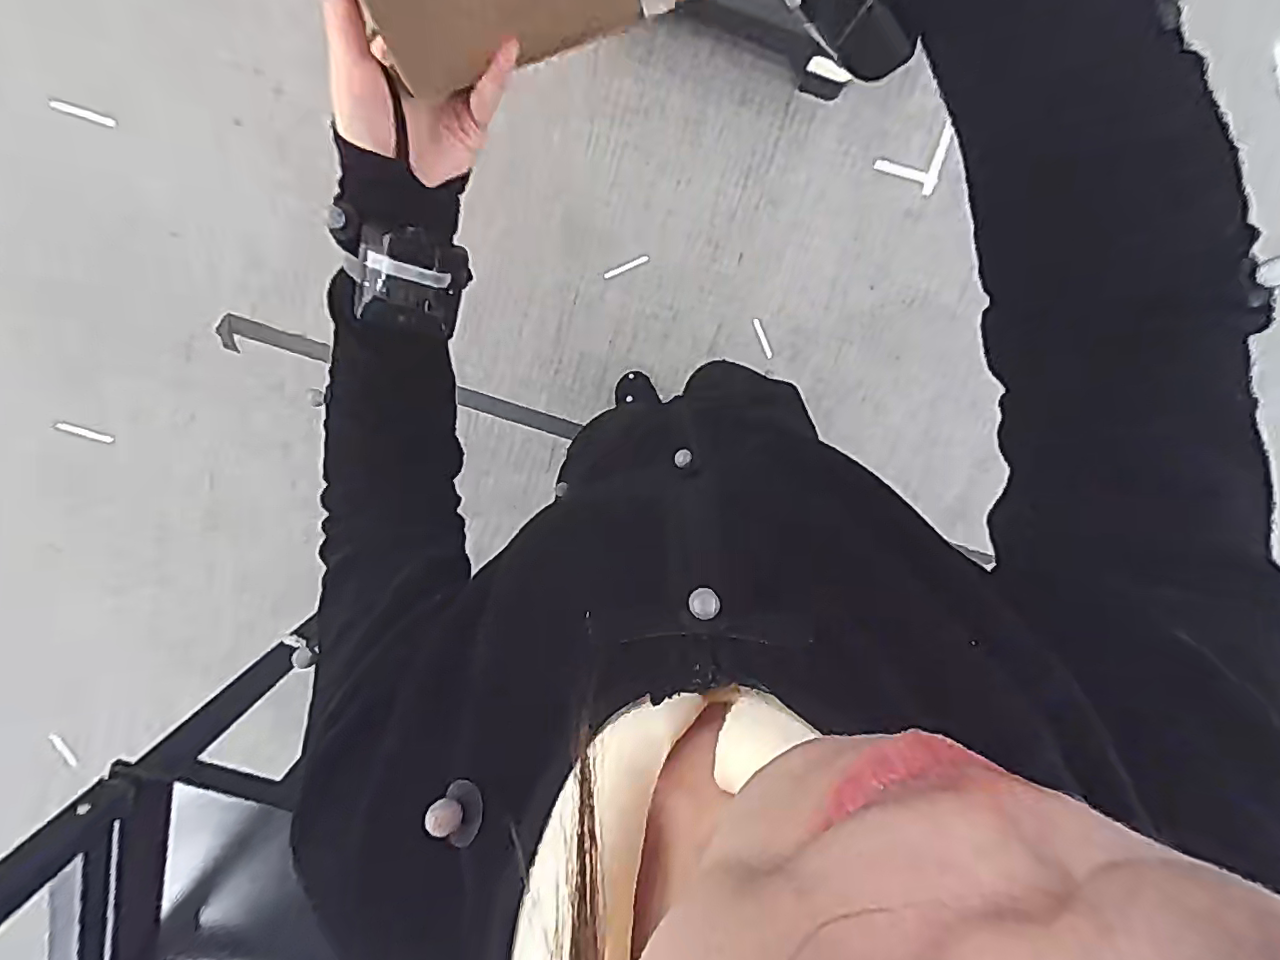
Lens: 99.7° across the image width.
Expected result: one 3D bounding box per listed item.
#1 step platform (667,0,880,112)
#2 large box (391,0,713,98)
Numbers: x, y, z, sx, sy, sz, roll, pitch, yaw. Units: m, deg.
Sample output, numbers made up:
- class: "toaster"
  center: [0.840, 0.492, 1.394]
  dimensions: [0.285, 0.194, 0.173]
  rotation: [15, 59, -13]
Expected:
- class: "step platform"
  center: [0.170, -1.090, 1.137]
  dimensions: [0.684, 0.204, 0.286]
  rotation: [22, 103, -3]
- class: "large box"
  center: [-0.054, -0.466, 0.188]
  dimensions: [0.320, 0.320, 0.408]
  rotation: [-22, 85, -4]
